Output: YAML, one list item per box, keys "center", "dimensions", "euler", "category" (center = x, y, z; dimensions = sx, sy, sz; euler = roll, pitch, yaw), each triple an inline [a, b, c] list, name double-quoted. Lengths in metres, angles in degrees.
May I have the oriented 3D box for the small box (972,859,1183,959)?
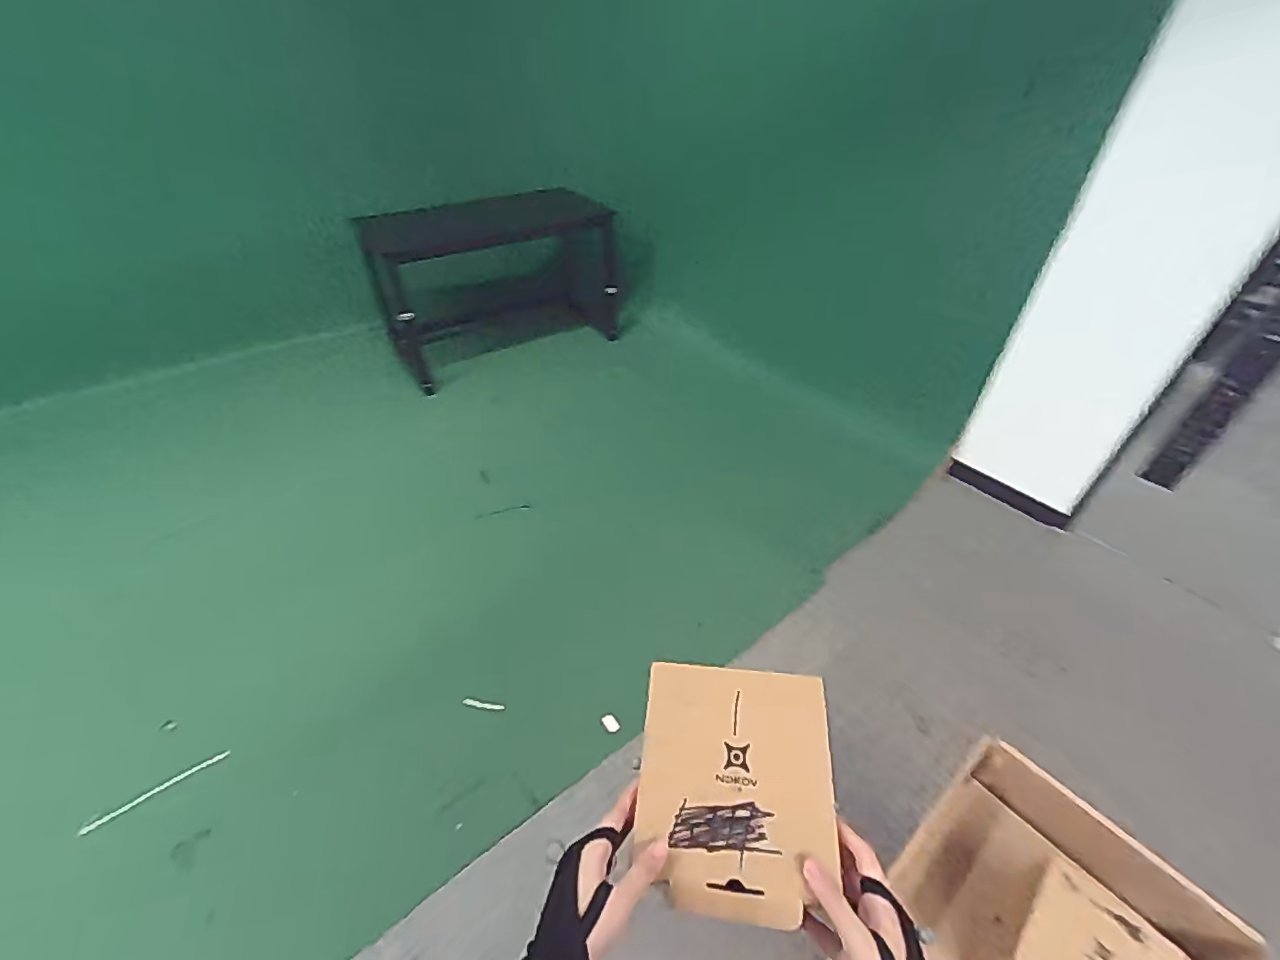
- center: [0.616, 0.705, 0.779]
  dimensions: [0.179, 0.176, 0.168]
  euler: [-33, 52, -30]
  category: "small box"

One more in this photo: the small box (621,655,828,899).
- center: [0.079, 0.296, 0.536]
  dimensions: [0.168, 0.176, 0.179]
  euler: [4, 51, 6]
  category: "small box"
